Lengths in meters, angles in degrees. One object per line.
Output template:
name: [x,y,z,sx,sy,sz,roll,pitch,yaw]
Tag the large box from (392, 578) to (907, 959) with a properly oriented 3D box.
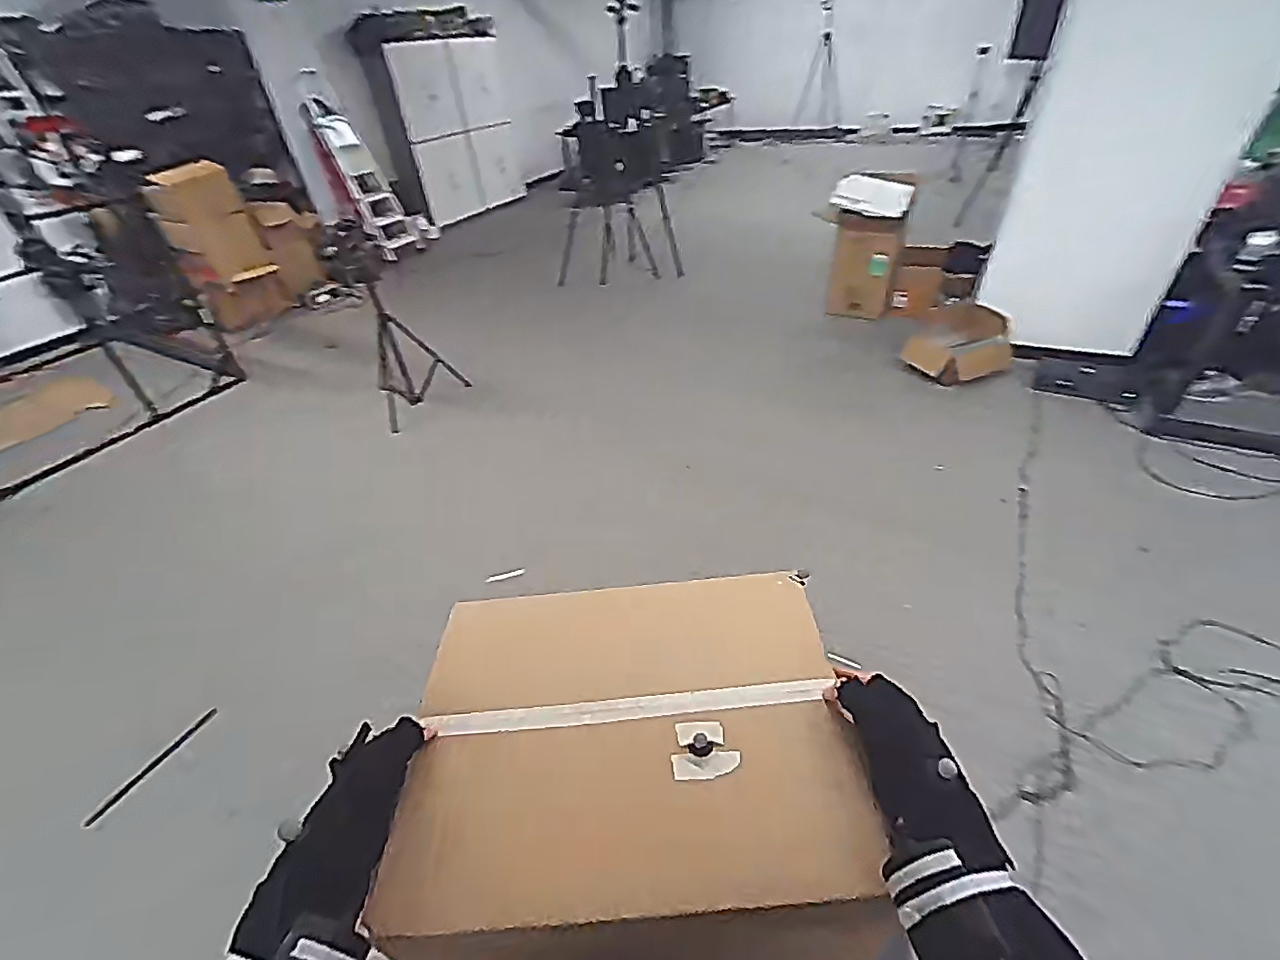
large box: [0.013,0.346,0.613,0.408,0.320,0.320,-5,37,2]
